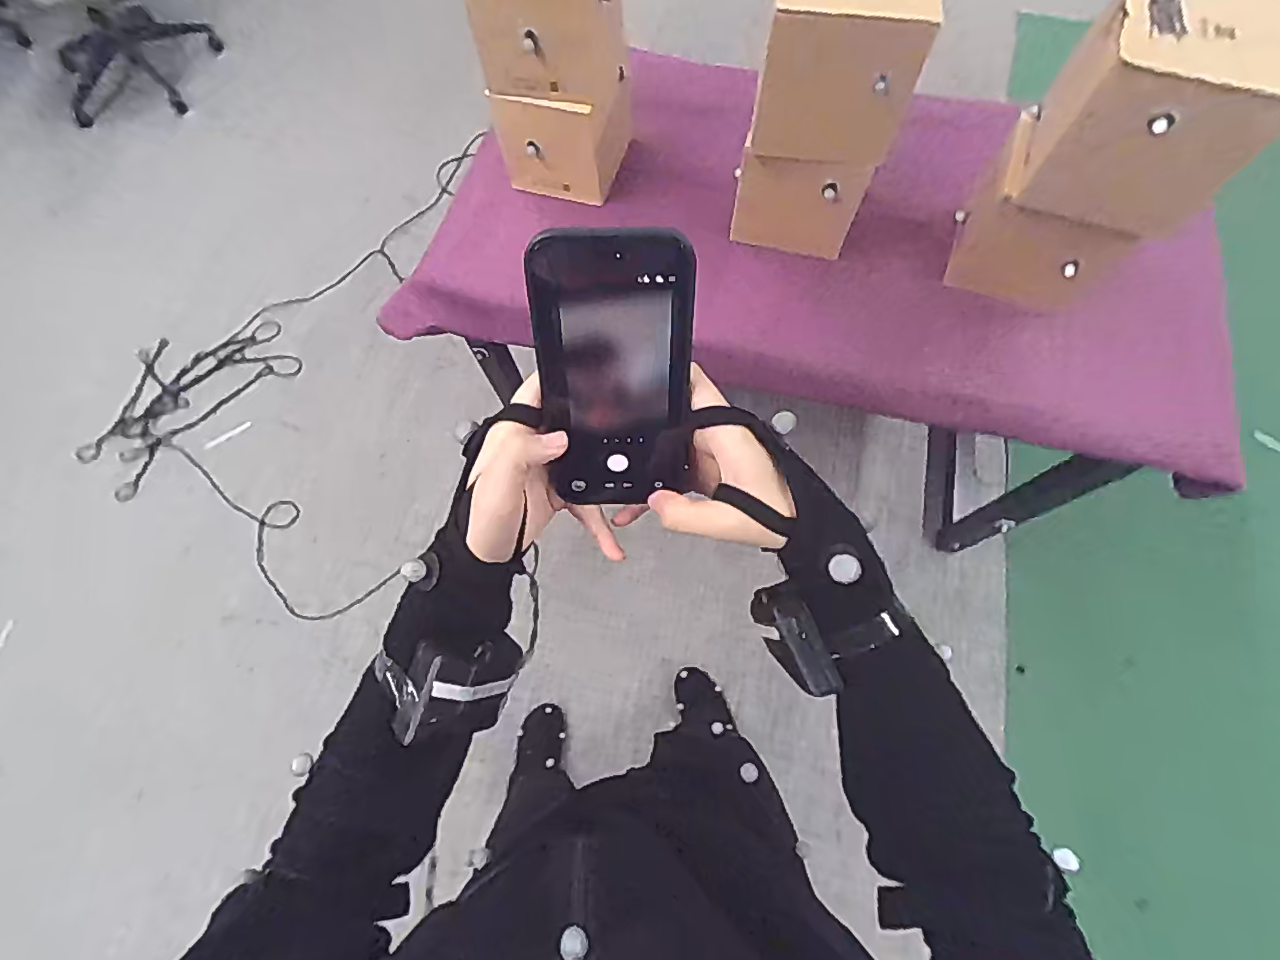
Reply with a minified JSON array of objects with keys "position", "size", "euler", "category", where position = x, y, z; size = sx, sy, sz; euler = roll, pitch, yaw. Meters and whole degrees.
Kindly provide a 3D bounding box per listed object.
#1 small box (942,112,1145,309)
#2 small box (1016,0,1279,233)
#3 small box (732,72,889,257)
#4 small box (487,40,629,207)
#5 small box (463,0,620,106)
[{"position":[0.572,-0.372,0.771],"size":[0.179,0.176,0.168],"euler":[20,71,10],"category":"small box"},{"position":[0.570,-0.415,0.613],"size":[0.179,0.176,0.168],"euler":[20,71,9],"category":"small box"},{"position":[0.249,-0.469,0.821],"size":[0.179,0.176,0.168],"euler":[14,70,8],"category":"small box"},{"position":[-0.120,-0.583,0.883],"size":[0.168,0.176,0.179],"euler":[15,70,8],"category":"small box"},{"position":[-0.125,-0.649,0.732],"size":[0.168,0.176,0.179],"euler":[10,71,6],"category":"small box"}]
